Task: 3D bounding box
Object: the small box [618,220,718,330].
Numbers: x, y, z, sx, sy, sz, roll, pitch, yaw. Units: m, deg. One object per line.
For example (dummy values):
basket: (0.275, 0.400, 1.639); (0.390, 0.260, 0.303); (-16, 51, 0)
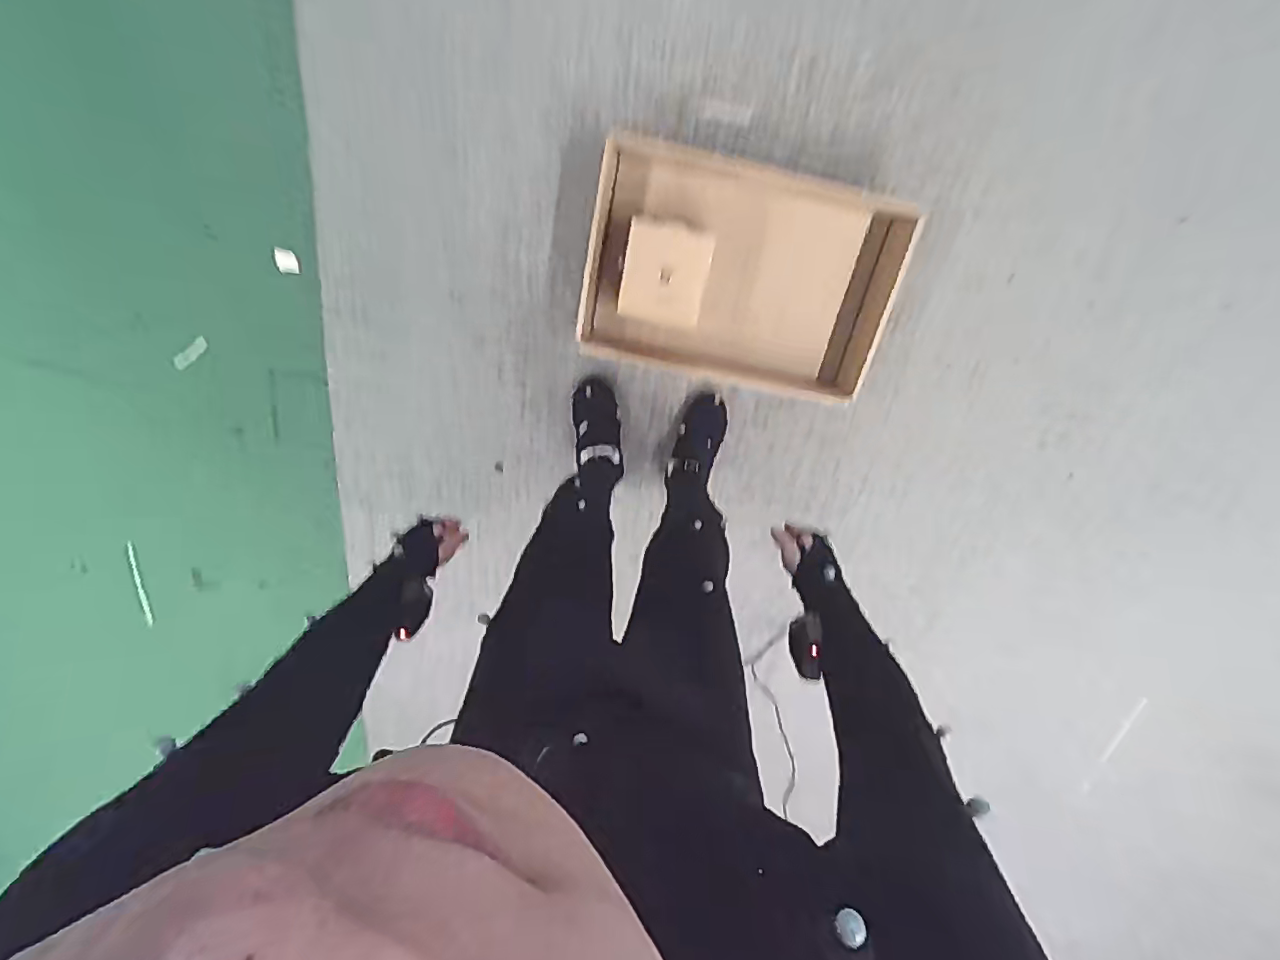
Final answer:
small box: (0.053, -0.424, 1.118); (0.168, 0.176, 0.179); (11, 113, -2)
